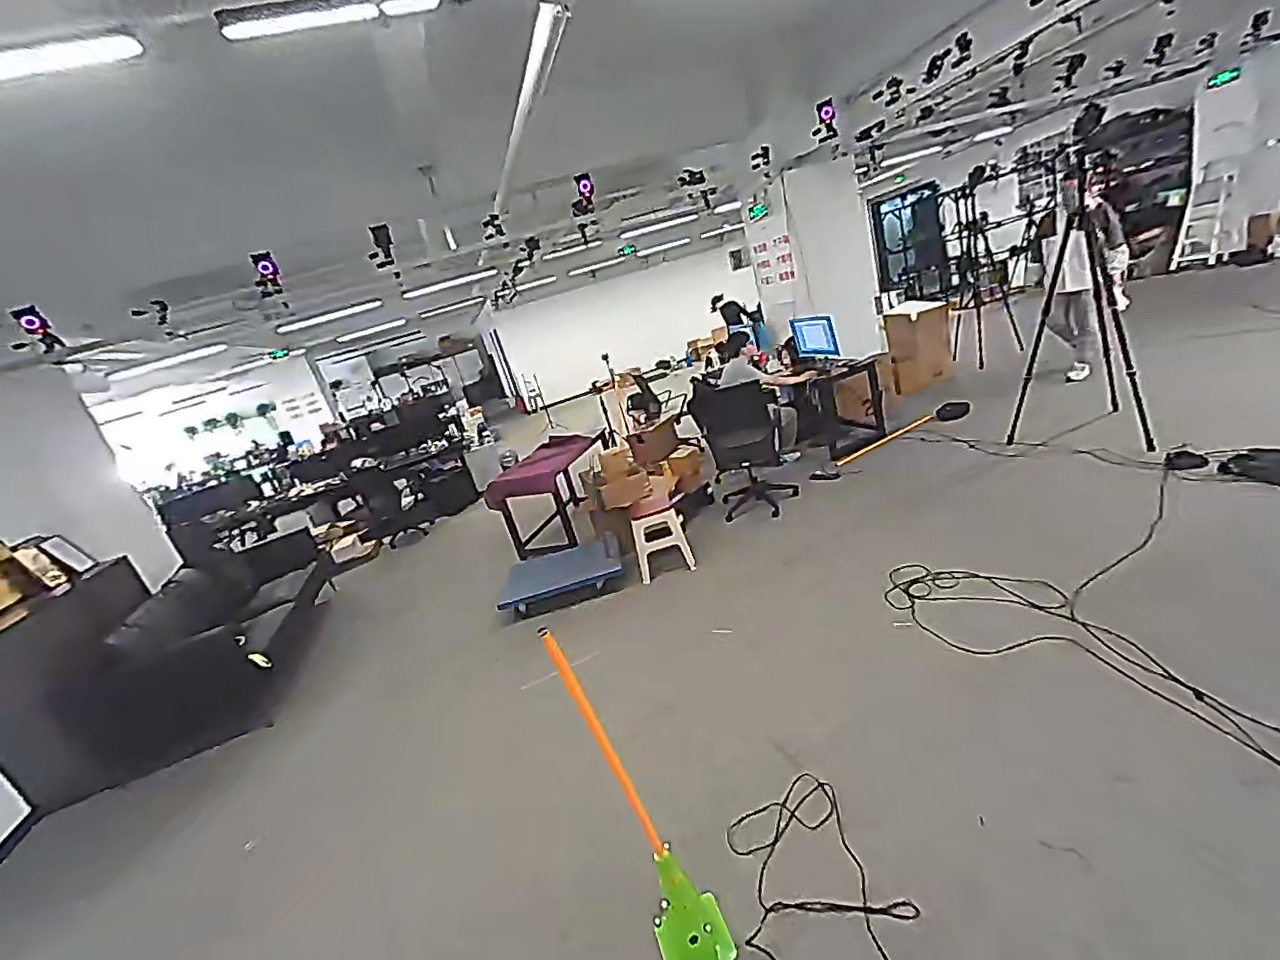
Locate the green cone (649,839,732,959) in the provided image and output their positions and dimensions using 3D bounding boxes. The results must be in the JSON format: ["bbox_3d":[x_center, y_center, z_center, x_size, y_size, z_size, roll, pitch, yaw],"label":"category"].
[{"bbox_3d":[0.097,1.153,1.505,0.202,0.368,0.200,-19,18,-12],"label":"green cone"}]
